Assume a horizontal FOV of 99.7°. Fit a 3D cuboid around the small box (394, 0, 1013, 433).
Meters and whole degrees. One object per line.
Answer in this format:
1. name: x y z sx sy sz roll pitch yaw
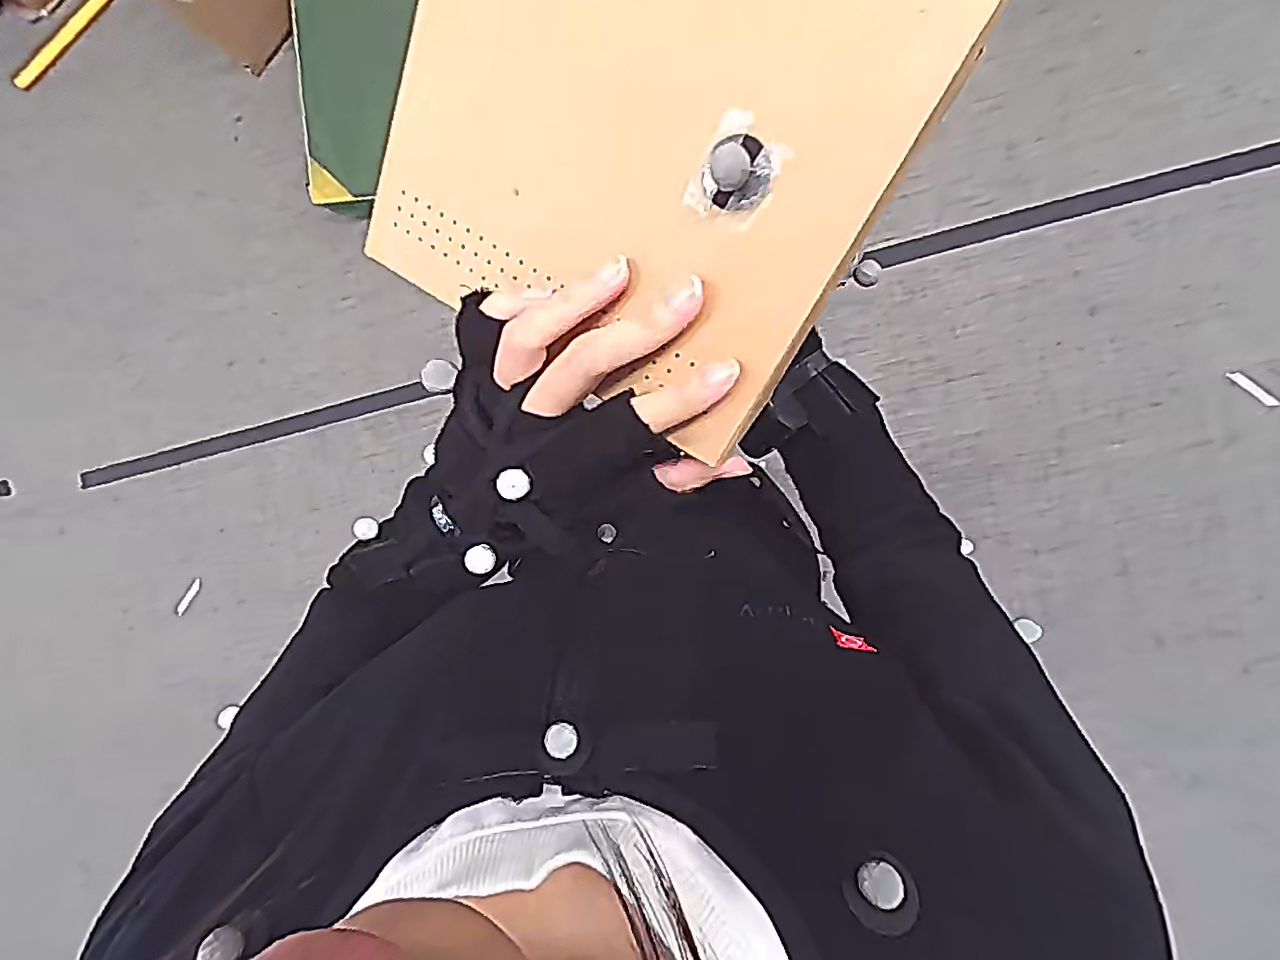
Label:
1. small box: 0.020 -0.136 0.259 0.179 0.168 0.176 32 115 8
